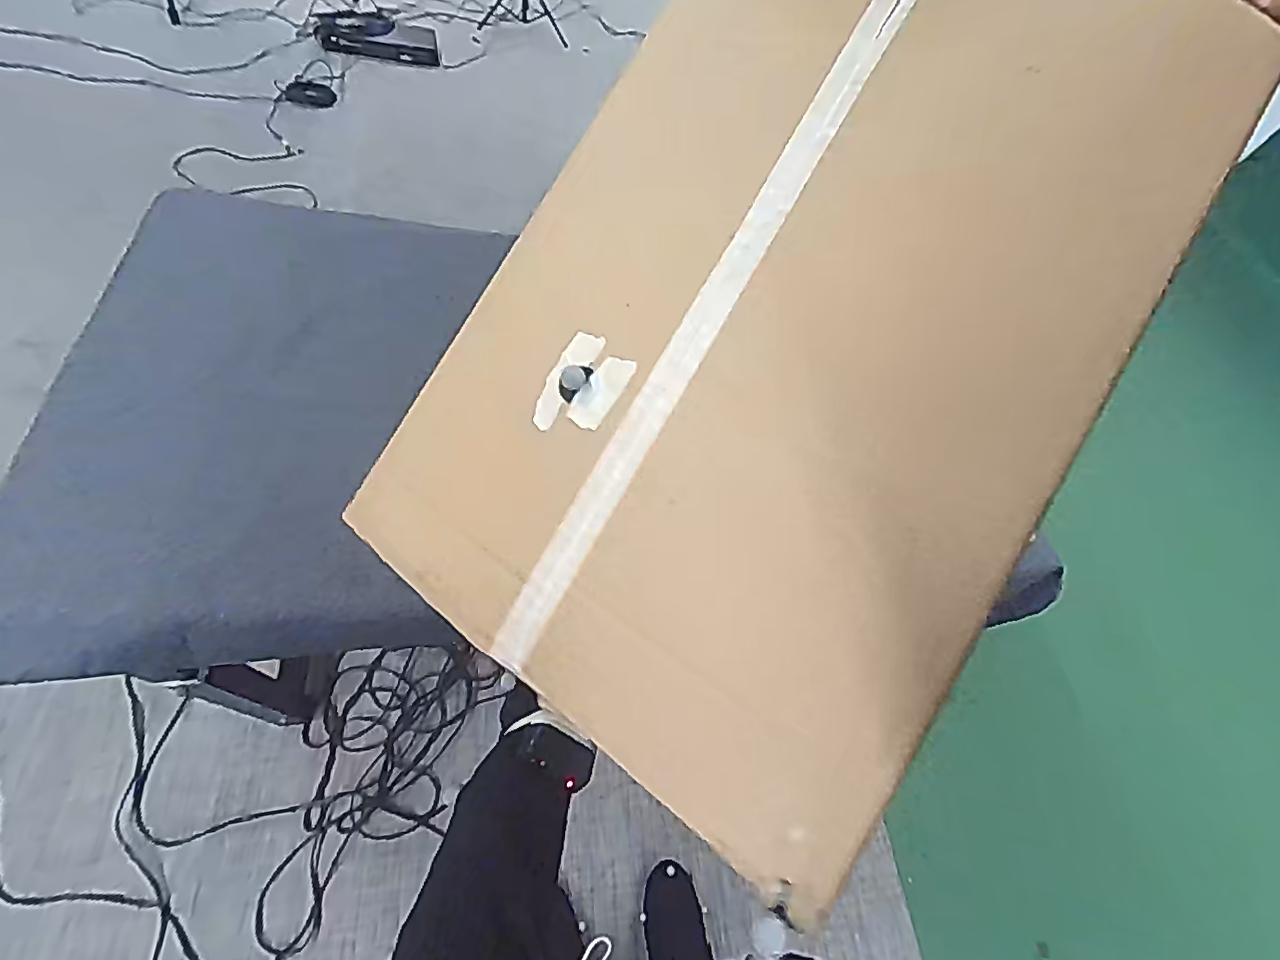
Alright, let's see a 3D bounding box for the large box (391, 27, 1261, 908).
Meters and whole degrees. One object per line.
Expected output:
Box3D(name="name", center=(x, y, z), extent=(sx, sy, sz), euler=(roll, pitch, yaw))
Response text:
Box3D(name="large box", center=(0.110, -0.031, 0.416), extent=(0.320, 0.320, 0.408), euler=(27, 86, 29))
